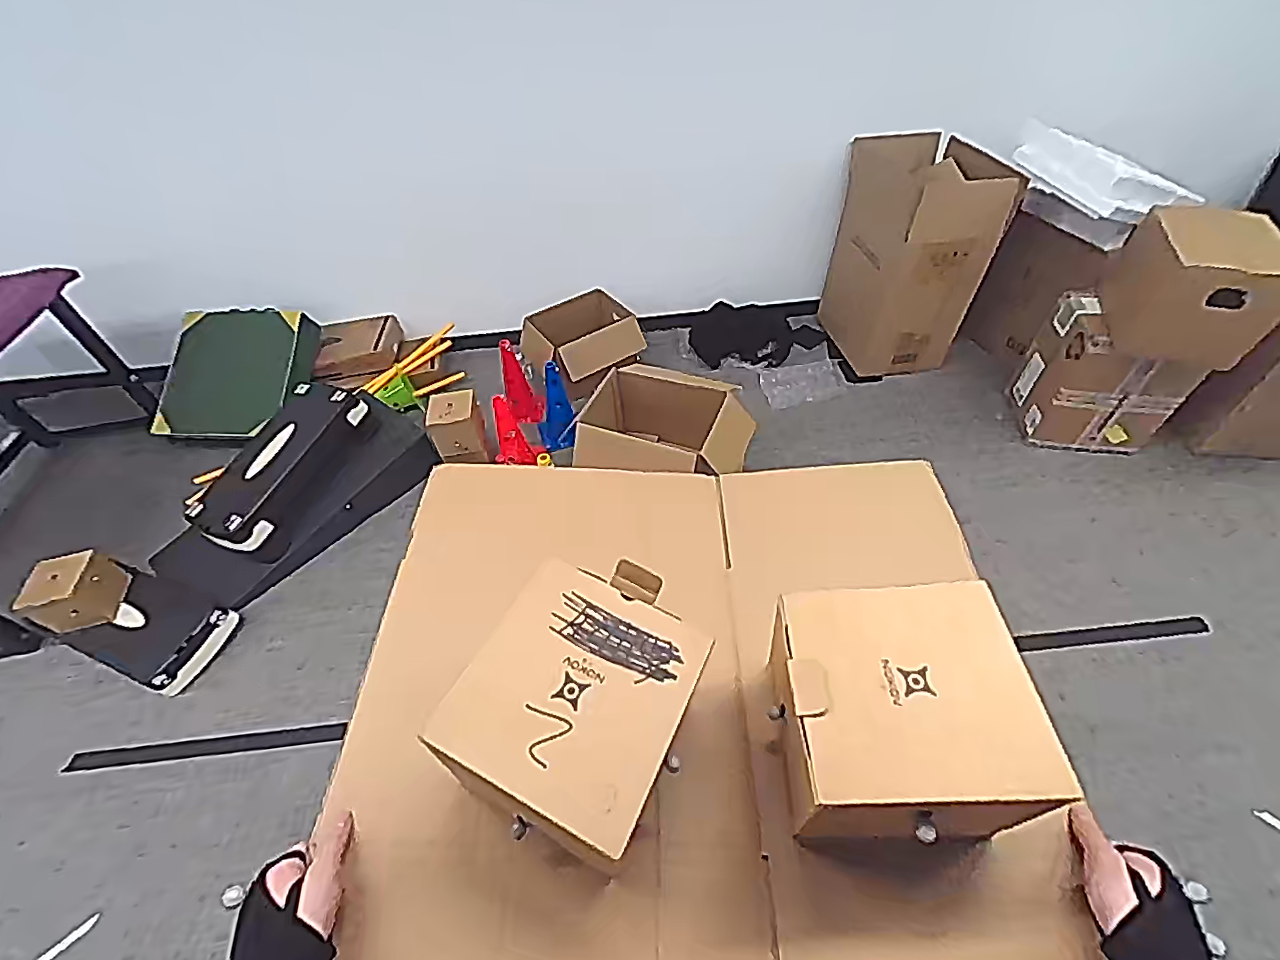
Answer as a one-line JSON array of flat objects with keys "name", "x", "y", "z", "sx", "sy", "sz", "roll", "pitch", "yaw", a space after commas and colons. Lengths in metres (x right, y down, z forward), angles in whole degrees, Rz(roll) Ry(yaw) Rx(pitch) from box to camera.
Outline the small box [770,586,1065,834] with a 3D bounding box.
[{"name": "small box", "x": 0.221, "y": 0.213, "z": 0.493, "sx": 0.179, "sy": 0.176, "sz": 0.168, "roll": -6, "pitch": 50, "yaw": 6}]
